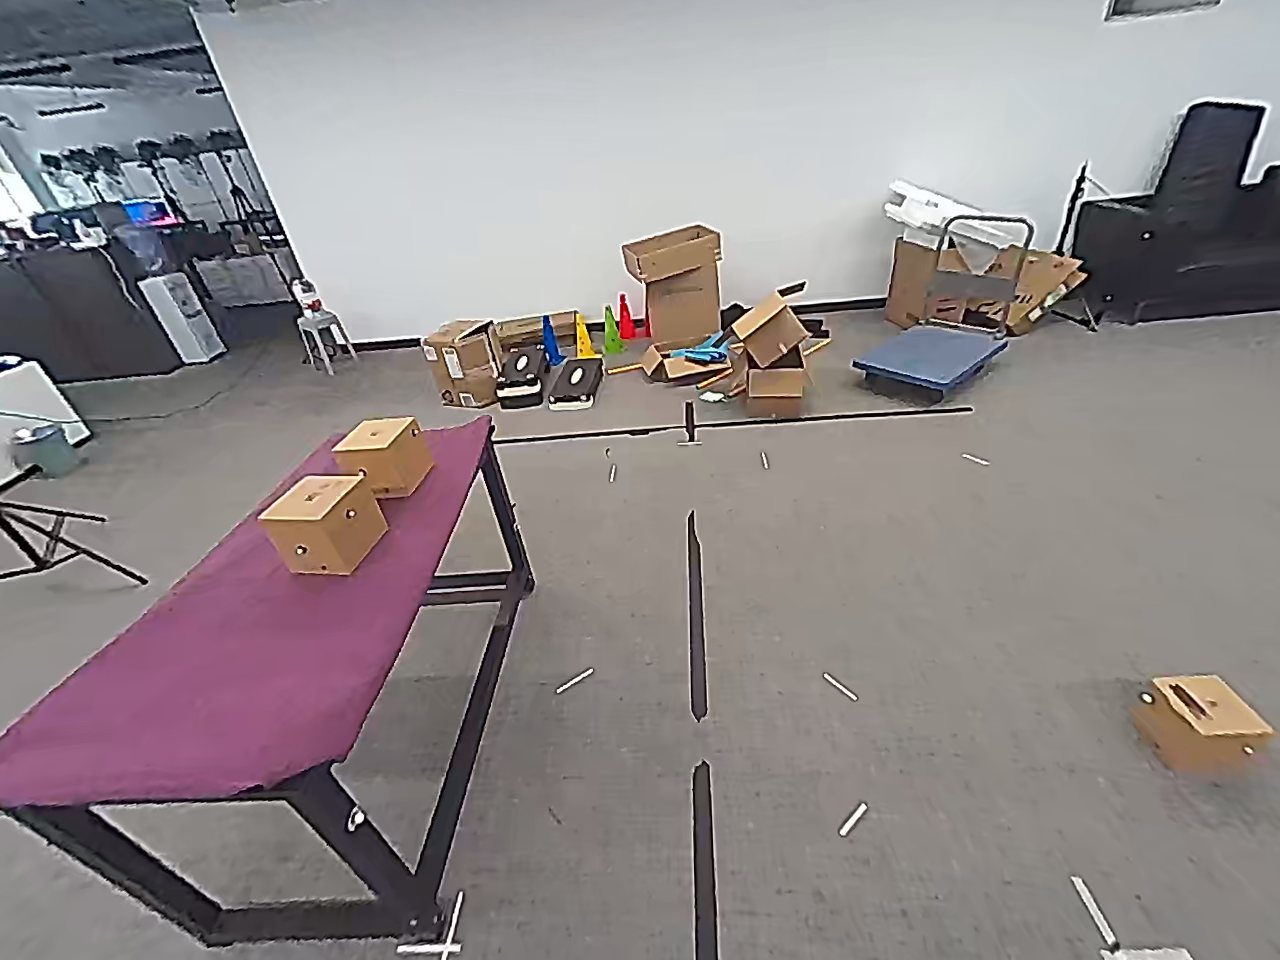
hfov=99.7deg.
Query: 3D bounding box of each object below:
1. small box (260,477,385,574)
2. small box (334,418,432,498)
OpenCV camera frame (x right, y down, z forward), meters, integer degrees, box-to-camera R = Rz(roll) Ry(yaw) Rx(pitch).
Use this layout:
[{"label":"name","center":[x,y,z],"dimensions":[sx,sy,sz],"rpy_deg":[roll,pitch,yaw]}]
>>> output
[{"label":"small box","center":[-0.750,0.109,1.303],"dimensions":[0.168,0.176,0.179],"rpy_deg":[1,34,11]},{"label":"small box","center":[-0.726,-0.058,1.552],"dimensions":[0.168,0.176,0.179],"rpy_deg":[-3,33,8]}]
